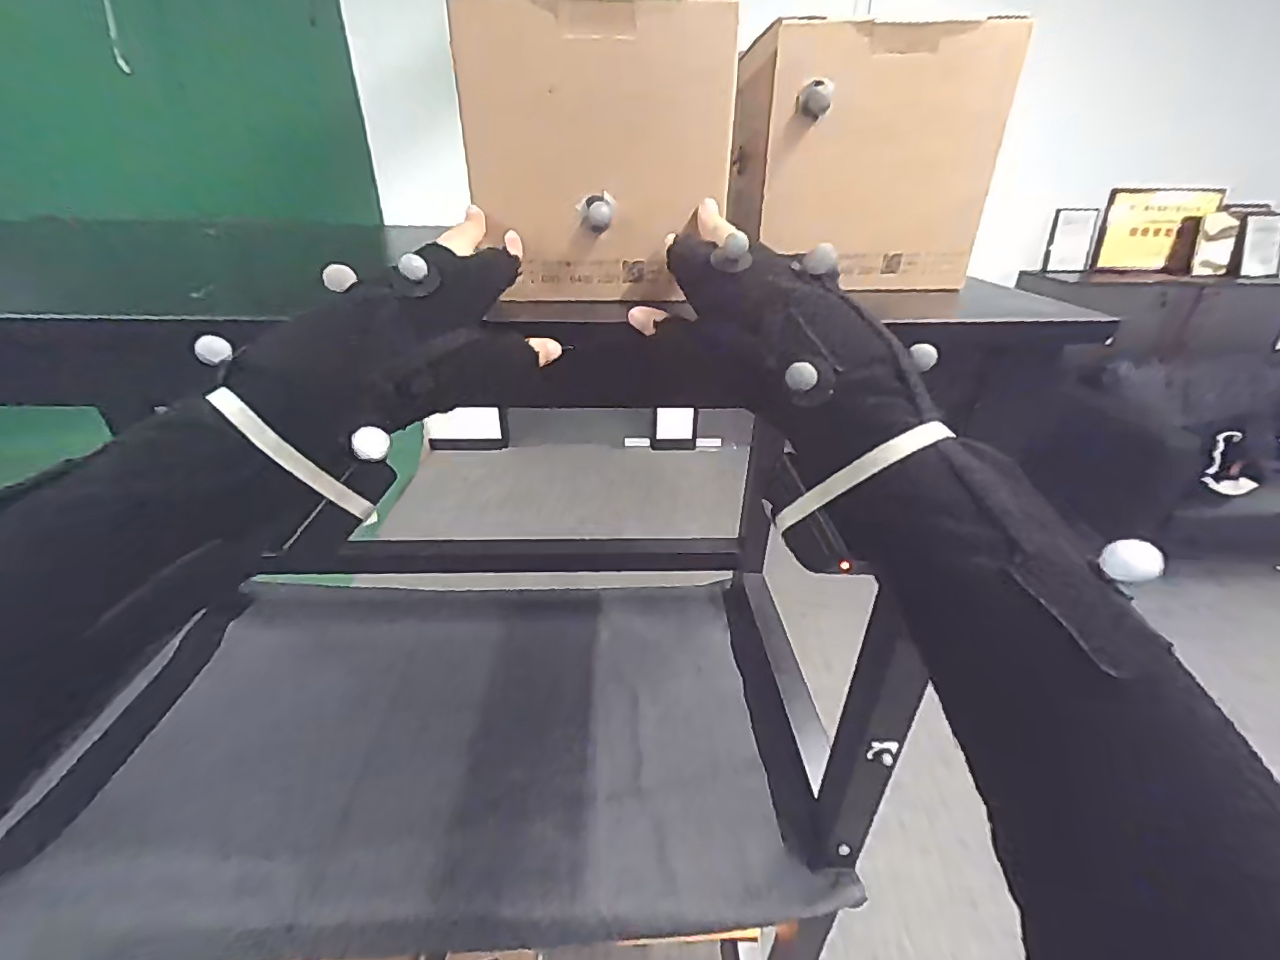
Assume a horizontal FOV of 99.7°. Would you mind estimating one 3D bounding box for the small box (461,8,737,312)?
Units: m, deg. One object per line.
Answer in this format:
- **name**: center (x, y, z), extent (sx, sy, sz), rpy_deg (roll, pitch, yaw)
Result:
- **small box**: center (-0.029, -0.237, 0.426), extent (0.168, 0.176, 0.179), rpy_deg (-1, 29, -3)
